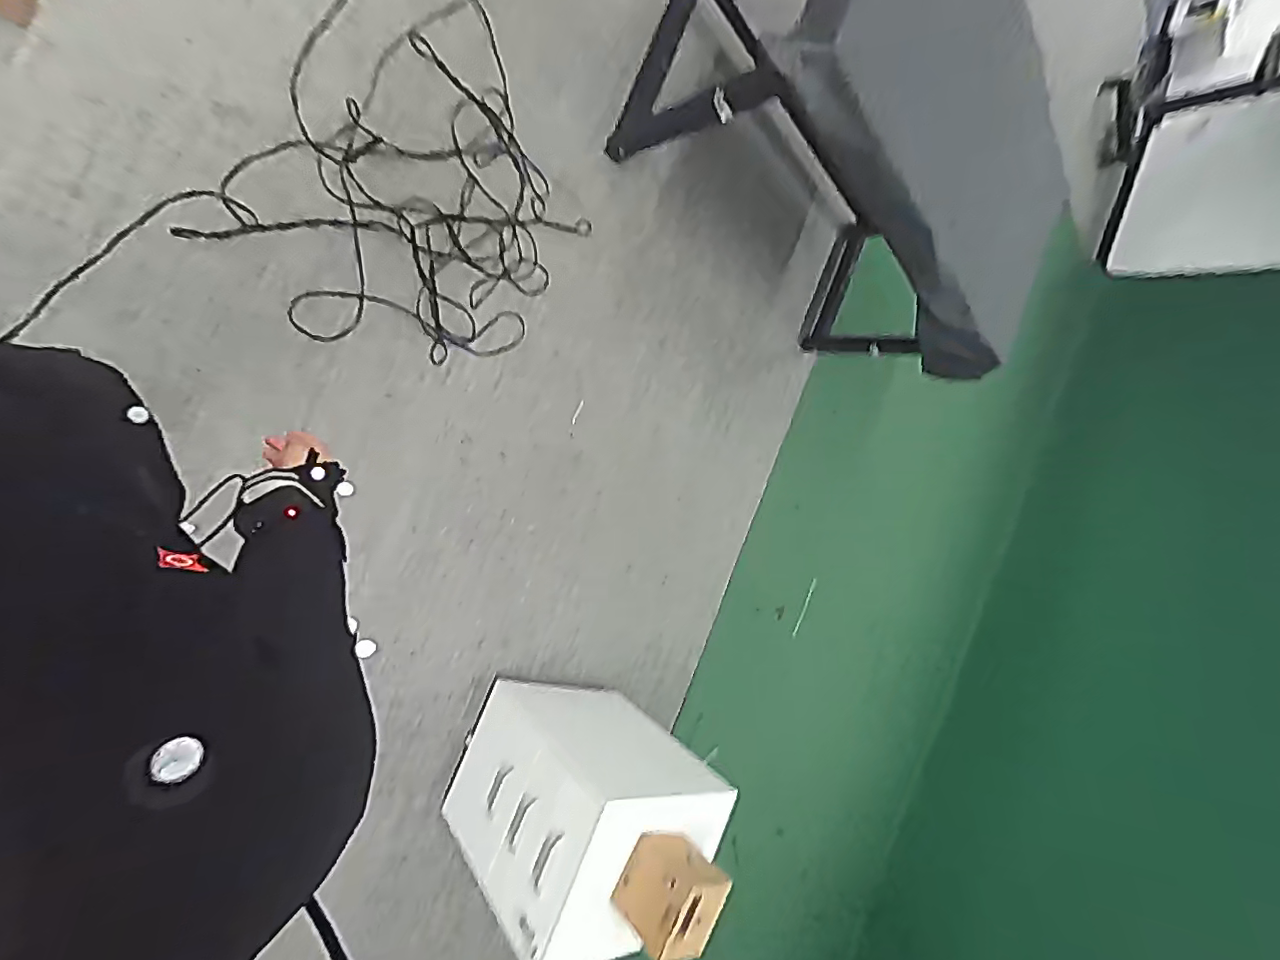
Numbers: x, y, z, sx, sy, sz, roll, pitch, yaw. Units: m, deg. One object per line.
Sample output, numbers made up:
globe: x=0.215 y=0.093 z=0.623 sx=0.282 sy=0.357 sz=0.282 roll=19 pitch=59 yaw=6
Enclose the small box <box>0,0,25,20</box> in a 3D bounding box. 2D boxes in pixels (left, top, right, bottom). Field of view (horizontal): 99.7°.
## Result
small box: x=-0.935 y=-0.779 z=0.715 sx=0.168 sy=0.176 sz=0.179 roll=17 pitch=92 yaw=-43
